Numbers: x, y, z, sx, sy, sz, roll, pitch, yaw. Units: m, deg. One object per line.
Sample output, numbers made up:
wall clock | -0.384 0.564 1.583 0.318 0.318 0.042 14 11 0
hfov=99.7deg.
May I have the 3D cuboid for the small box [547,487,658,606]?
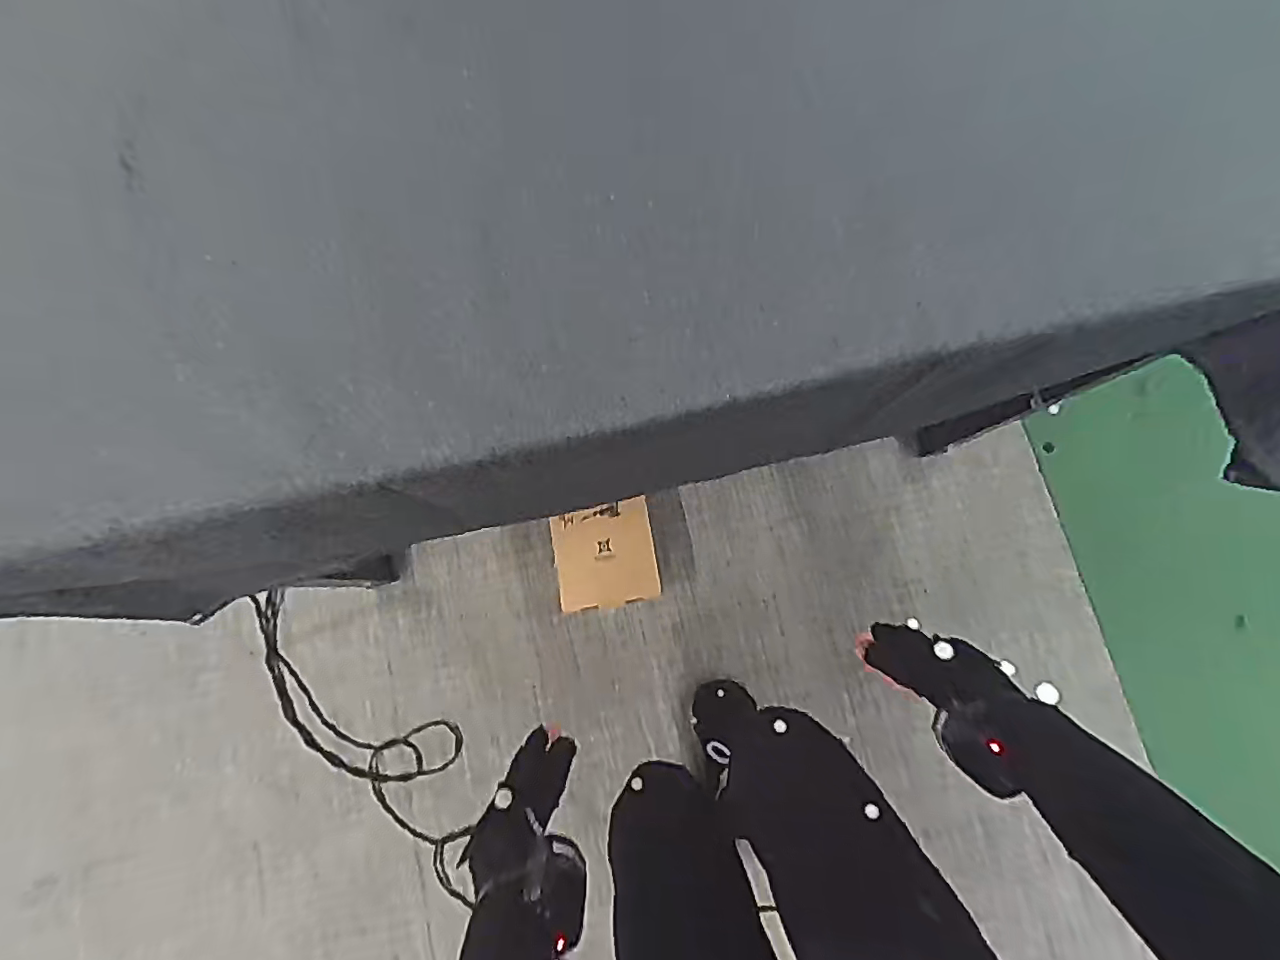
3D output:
small box | -0.063 0.119 0.955 0.168 0.176 0.179 -8 80 -4
